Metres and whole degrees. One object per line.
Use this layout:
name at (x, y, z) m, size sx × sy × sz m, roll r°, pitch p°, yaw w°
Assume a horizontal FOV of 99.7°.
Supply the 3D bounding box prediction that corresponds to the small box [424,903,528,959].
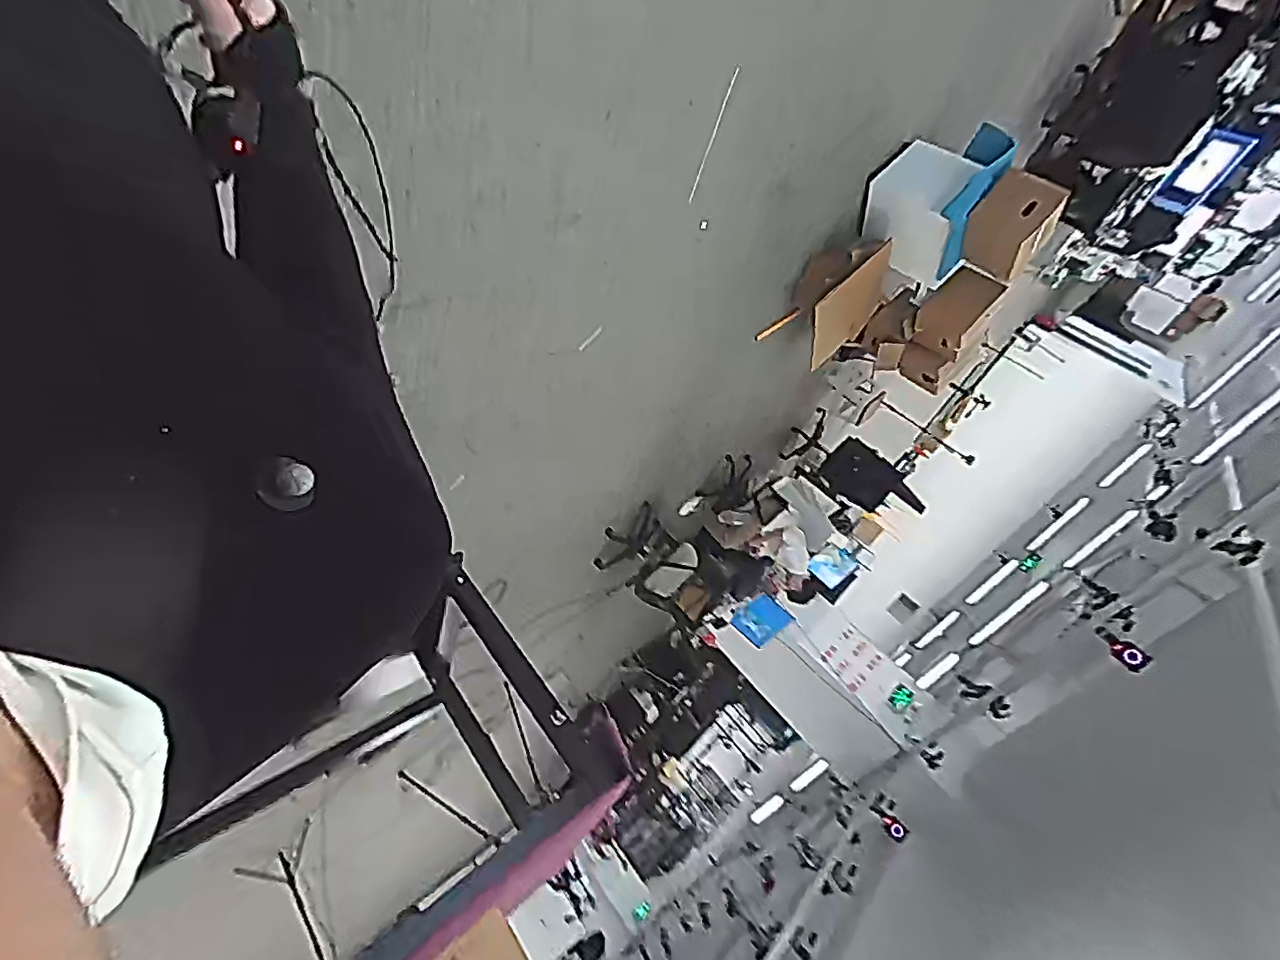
small box at (-0.314, 0.935, 0.997) m, size 0.168 × 0.176 × 0.179 m, roll -17°, pitch 145°, yaw -45°
